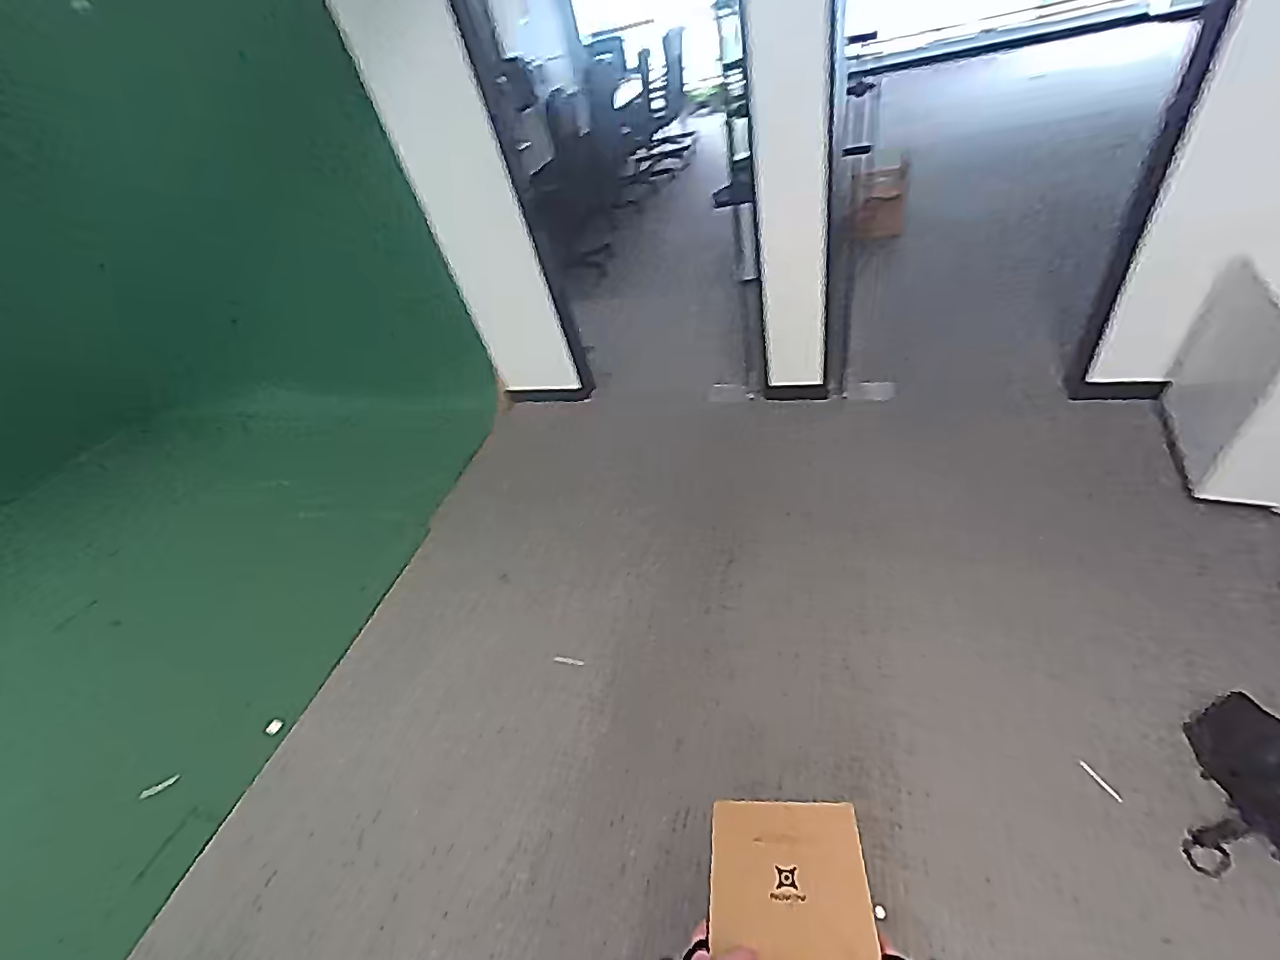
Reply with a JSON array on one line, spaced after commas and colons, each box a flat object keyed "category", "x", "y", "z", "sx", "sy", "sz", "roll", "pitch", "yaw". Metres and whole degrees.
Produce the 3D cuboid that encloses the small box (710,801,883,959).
[{"category": "small box", "x": 0.175, "y": 0.499, "z": 0.608, "sx": 0.168, "sy": 0.176, "sz": 0.179, "roll": -8, "pitch": 24, "yaw": 12}]
